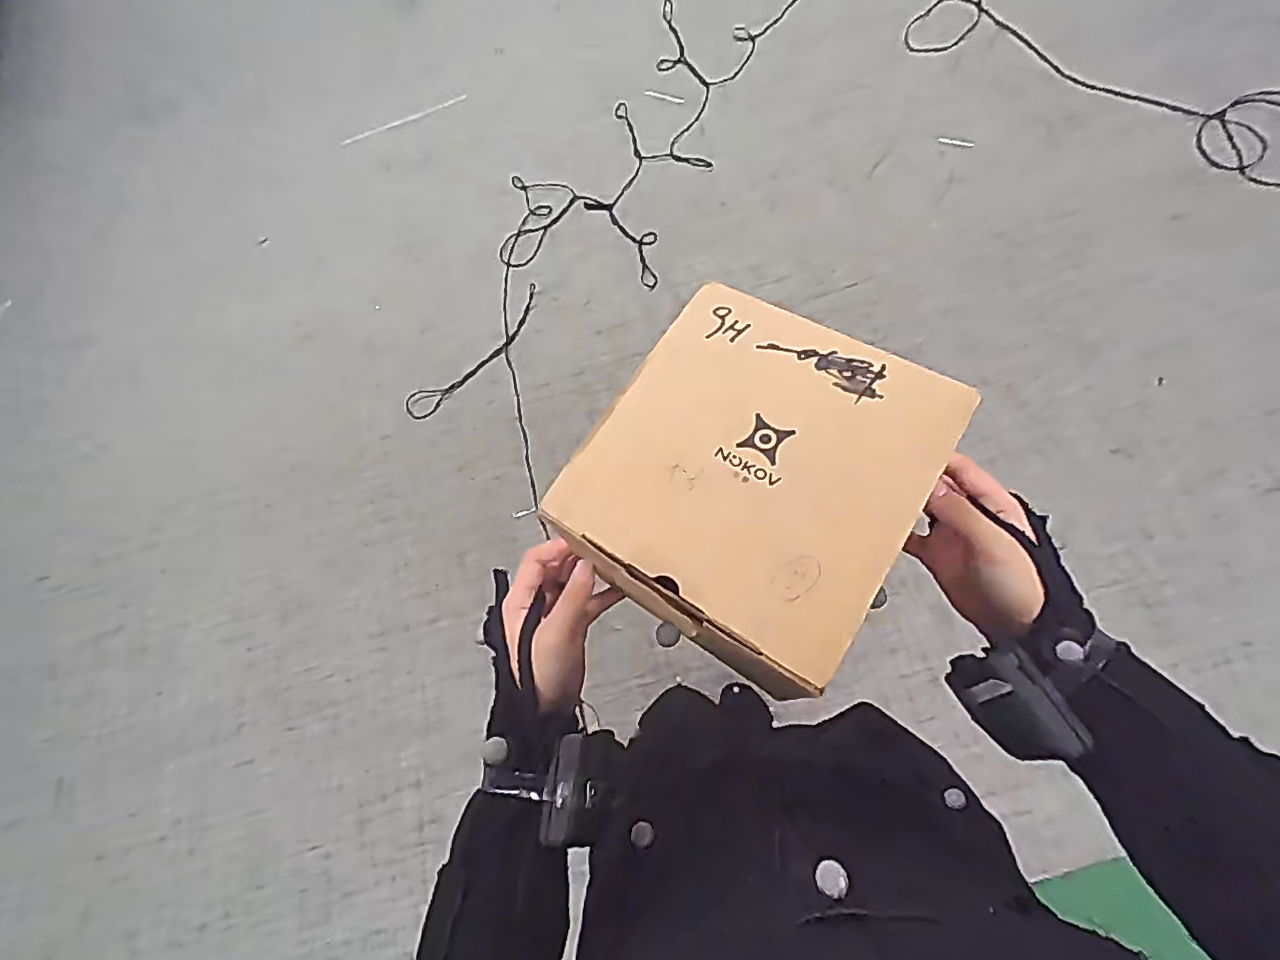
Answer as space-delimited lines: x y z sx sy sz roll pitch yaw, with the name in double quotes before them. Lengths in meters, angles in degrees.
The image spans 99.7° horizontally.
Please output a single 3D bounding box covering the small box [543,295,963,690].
"small box" 0.071 0.021 0.363 0.168 0.176 0.179 30 75 19
